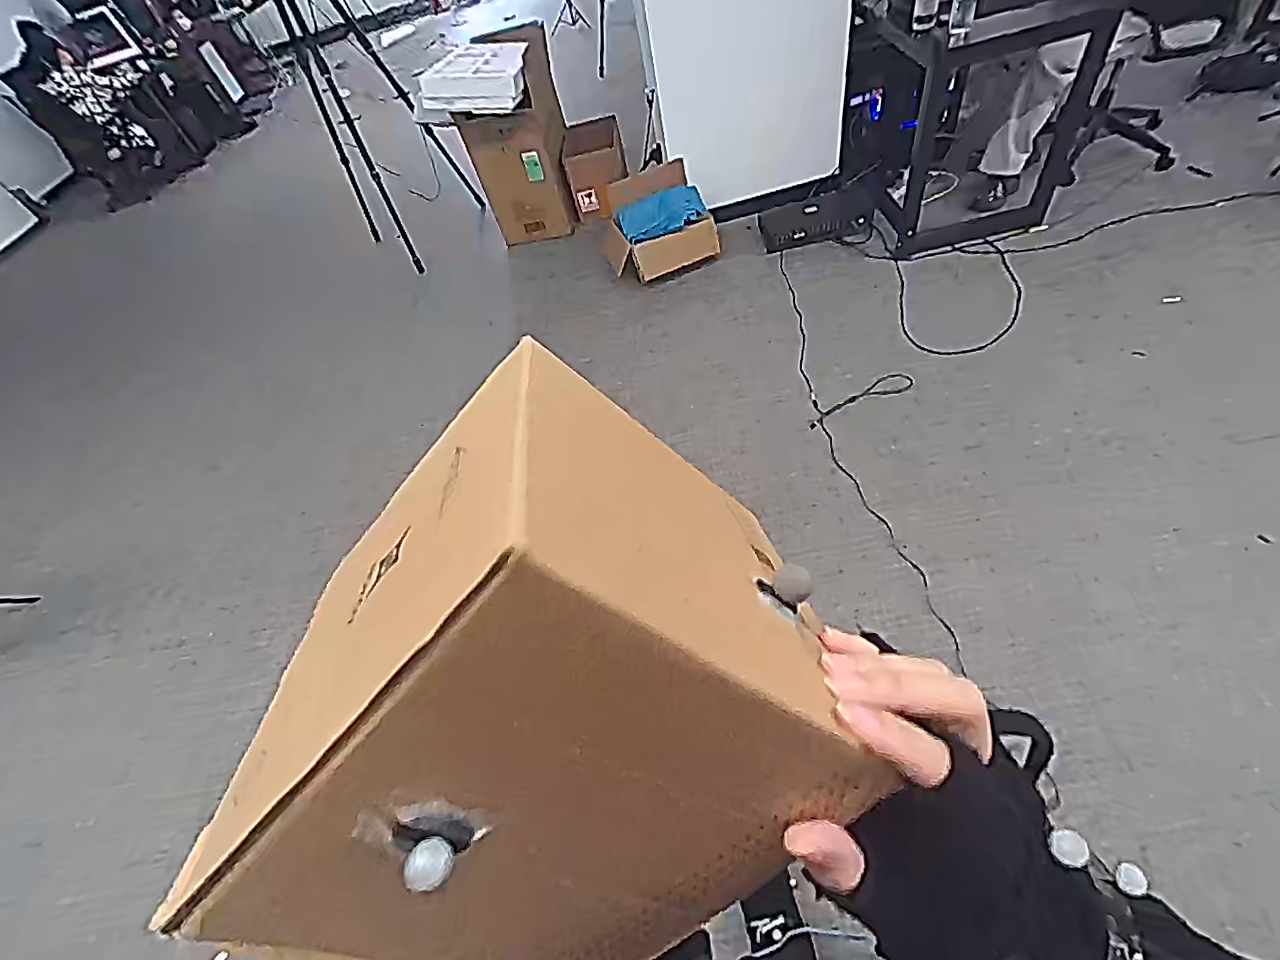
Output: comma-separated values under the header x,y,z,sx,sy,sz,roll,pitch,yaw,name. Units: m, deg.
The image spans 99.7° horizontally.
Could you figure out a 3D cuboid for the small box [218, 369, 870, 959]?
x,y,z,sx,sy,sz,roll,pitch,yaw,name
-0.035,0.085,0.257,0.179,0.176,0.168,-46,28,14,small box
